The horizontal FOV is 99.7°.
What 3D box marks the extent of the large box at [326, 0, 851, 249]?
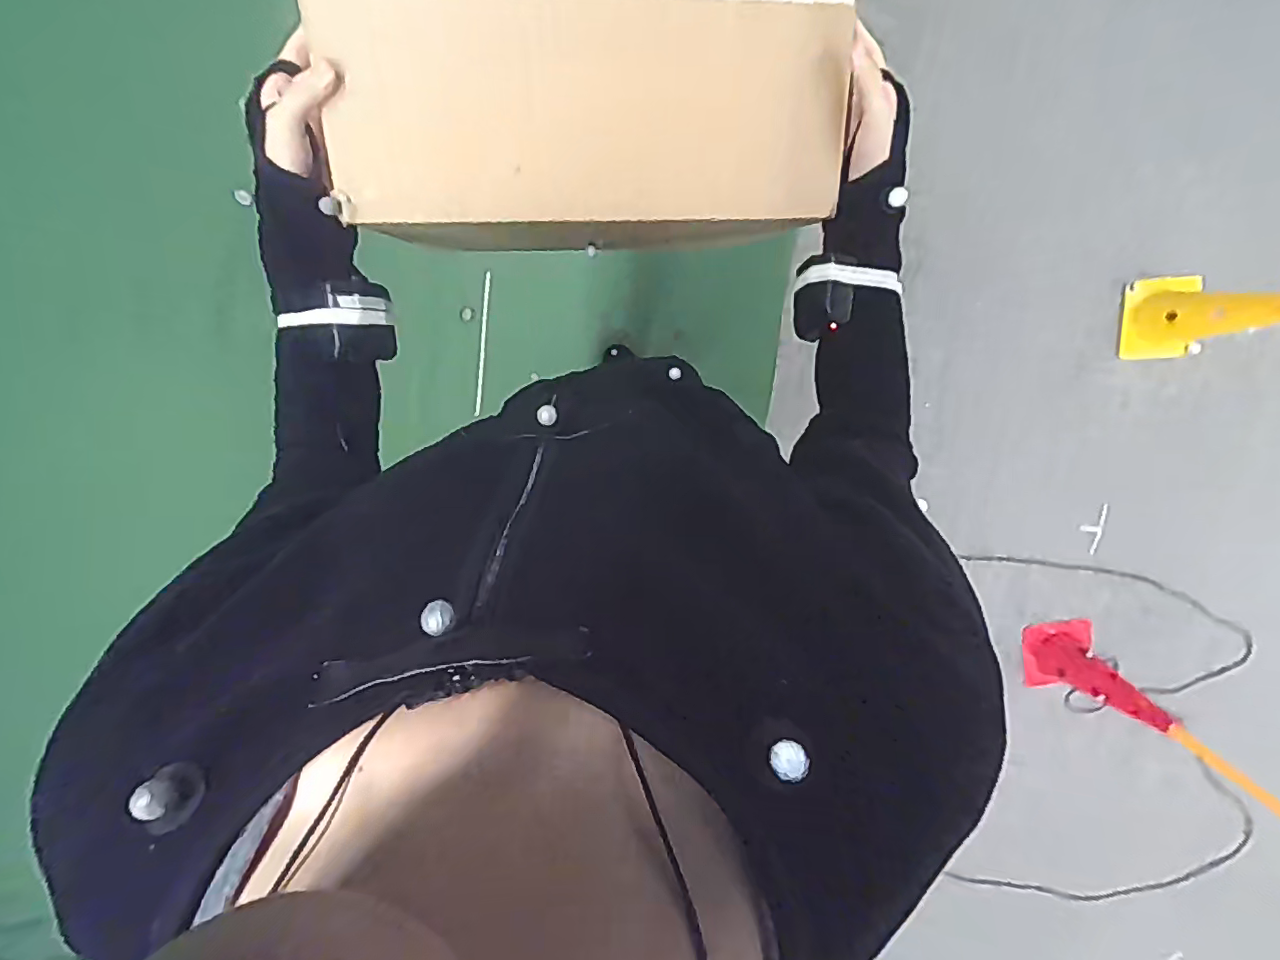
[{"bbox_3d":[-0.047,-0.409,0.545,0.408,0.320,0.320,-3,109,-7],"label":"large box"}]
